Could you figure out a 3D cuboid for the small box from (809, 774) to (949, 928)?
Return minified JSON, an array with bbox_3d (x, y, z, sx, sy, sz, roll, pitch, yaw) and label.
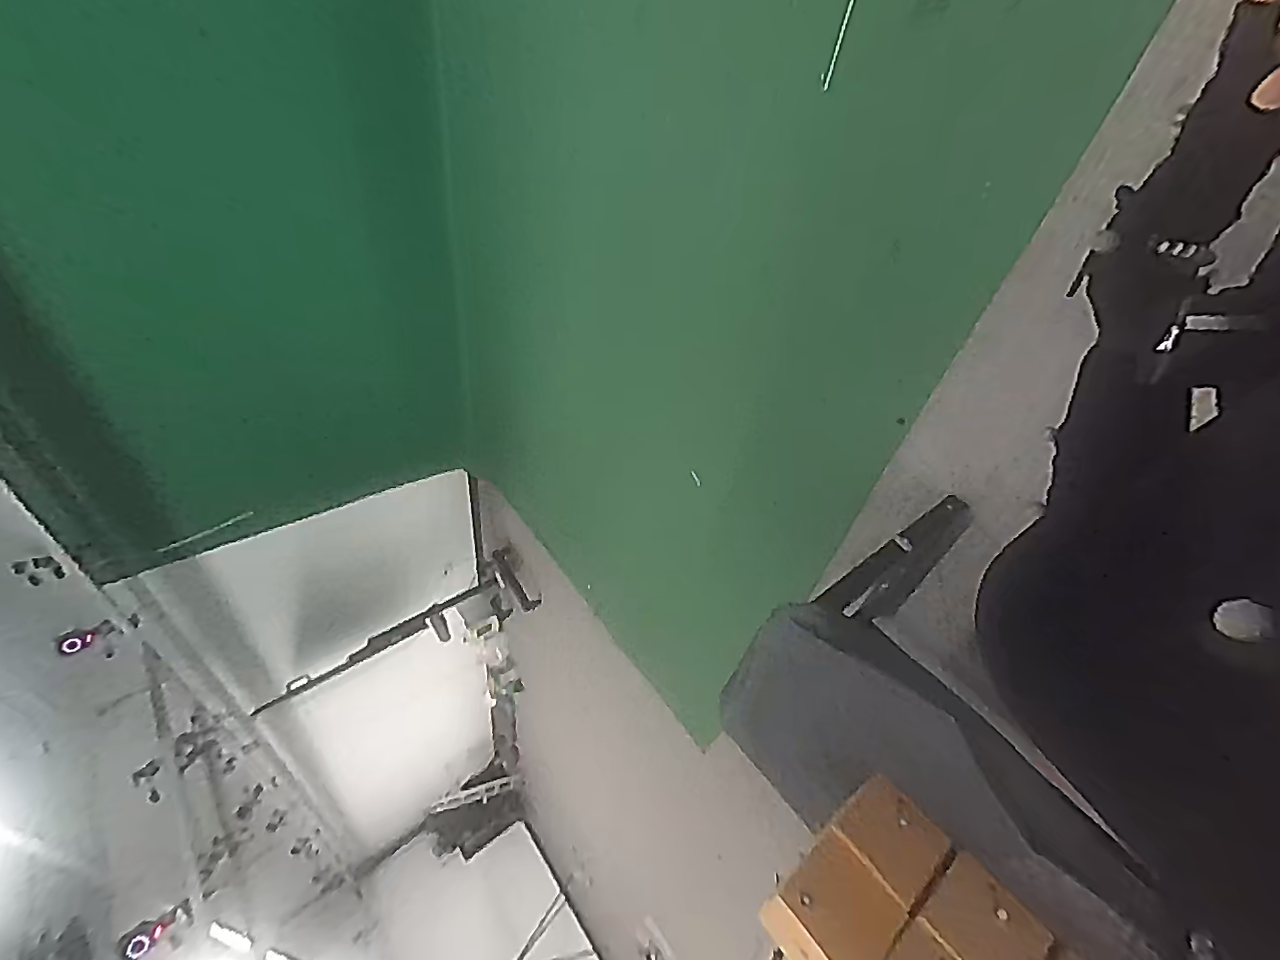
[{"bbox_3d":[0.476,0.734,1.079,0.168,0.176,0.179,41,140,32],"label":"small box"}]
